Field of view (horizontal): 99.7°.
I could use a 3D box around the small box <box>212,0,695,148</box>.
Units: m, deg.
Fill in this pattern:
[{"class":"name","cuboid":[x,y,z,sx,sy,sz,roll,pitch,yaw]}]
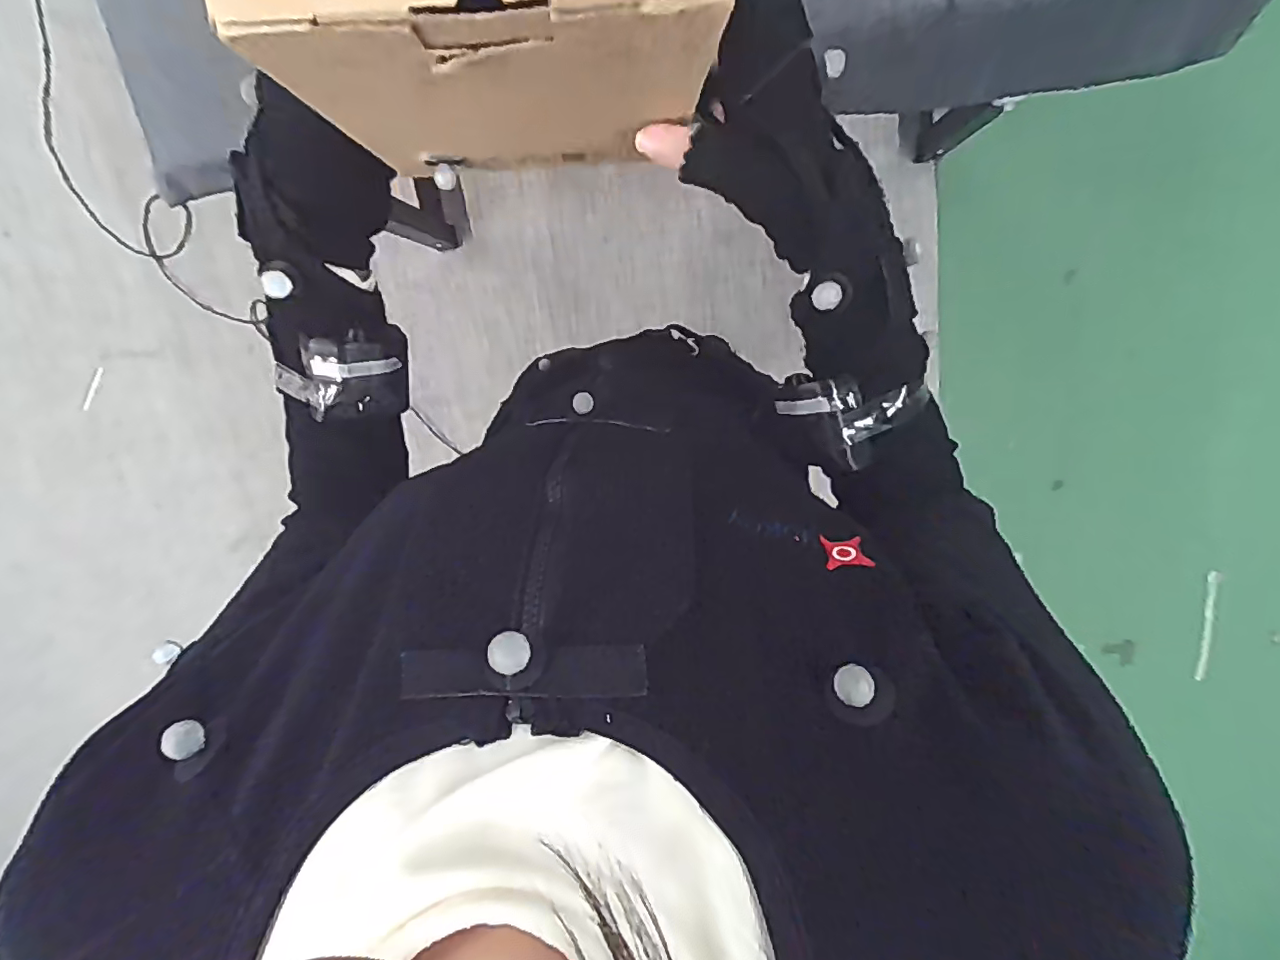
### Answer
[{"class":"small box","cuboid":[-0.065,-0.258,0.225,0.168,0.176,0.179,-6,105,-2]}]
